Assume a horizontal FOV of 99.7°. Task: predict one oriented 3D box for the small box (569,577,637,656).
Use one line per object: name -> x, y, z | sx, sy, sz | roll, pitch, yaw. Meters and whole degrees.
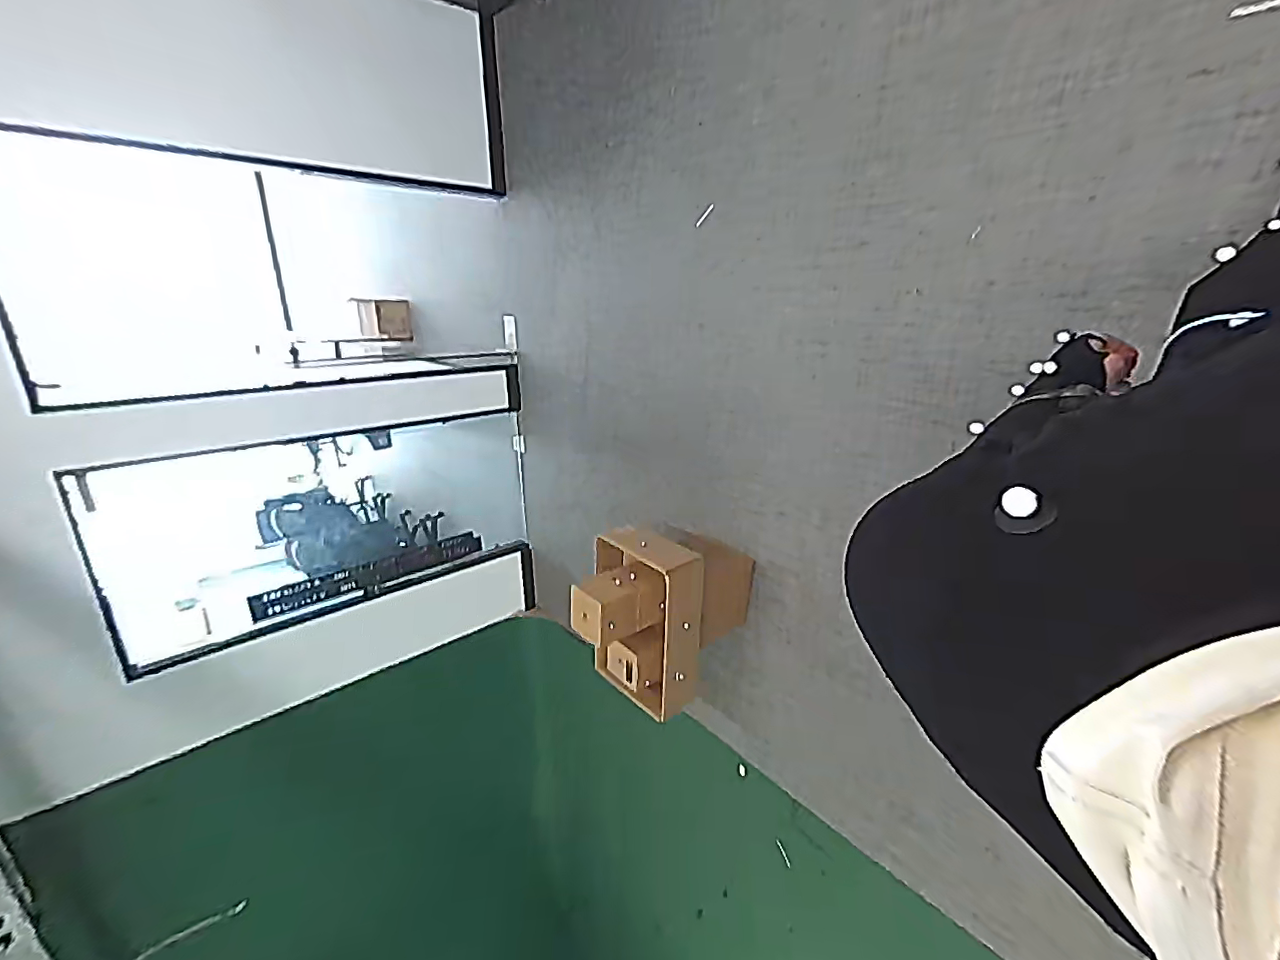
small box -> -0.125, 0.461, 1.846 | 0.168, 0.176, 0.179 | 22, 117, 43
